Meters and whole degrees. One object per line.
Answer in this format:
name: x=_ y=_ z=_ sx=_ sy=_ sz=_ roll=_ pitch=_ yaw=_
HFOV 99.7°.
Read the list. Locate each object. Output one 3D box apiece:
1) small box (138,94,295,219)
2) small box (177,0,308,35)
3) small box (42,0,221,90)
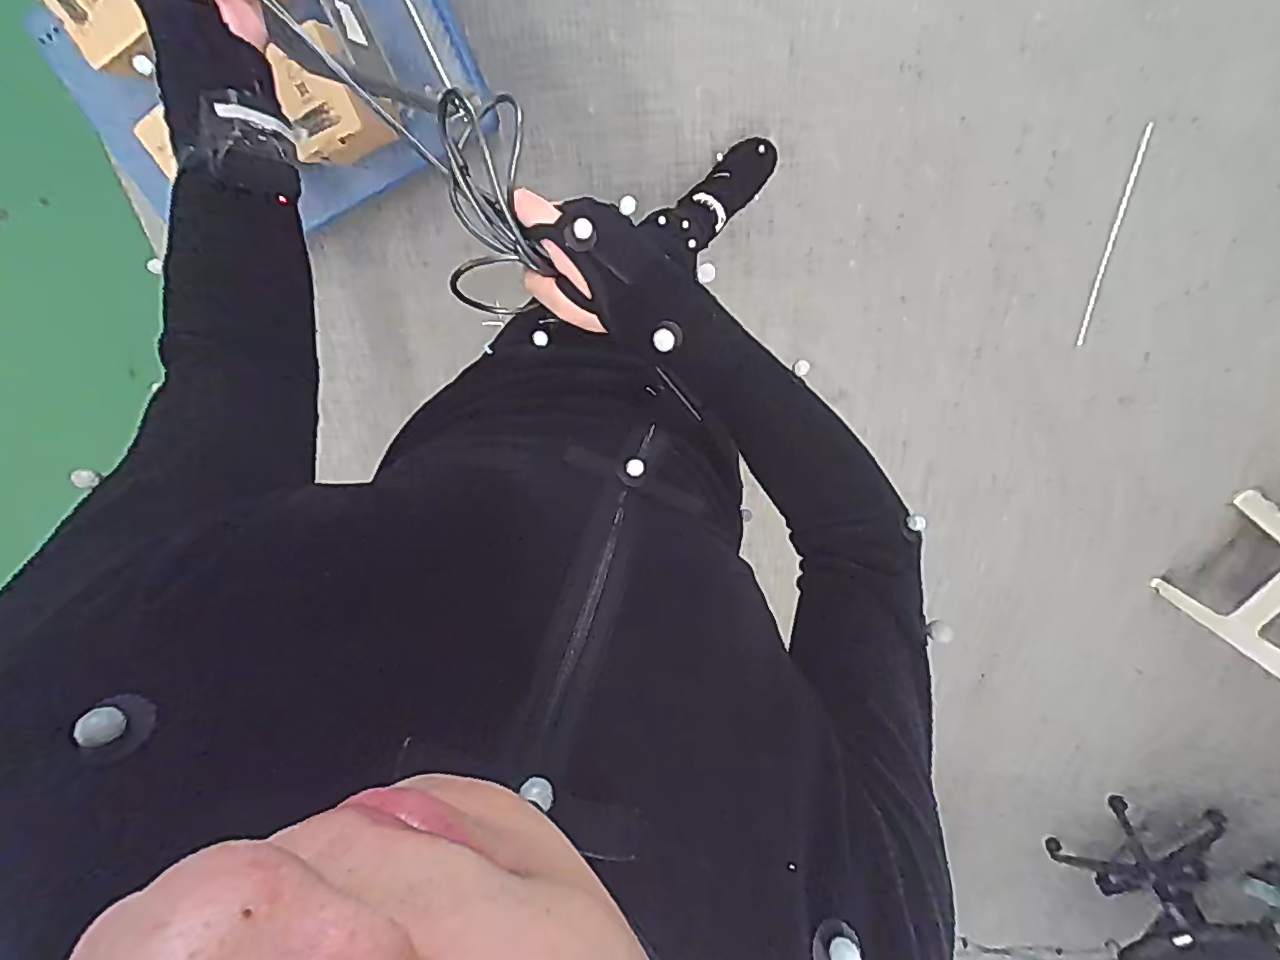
small box: x=-0.884 y=-0.682 z=1.154 sx=0.179 sy=0.176 sz=0.168 roll=-21 pitch=114 yaw=17
small box: x=-0.754 y=-0.961 z=0.987 sx=0.179 sy=0.176 sz=0.168 roll=-16 pitch=116 yaw=15
small box: x=-0.981 y=-0.894 z=1.049 sx=0.179 sy=0.176 sz=0.168 roll=-19 pitch=115 yaw=16
